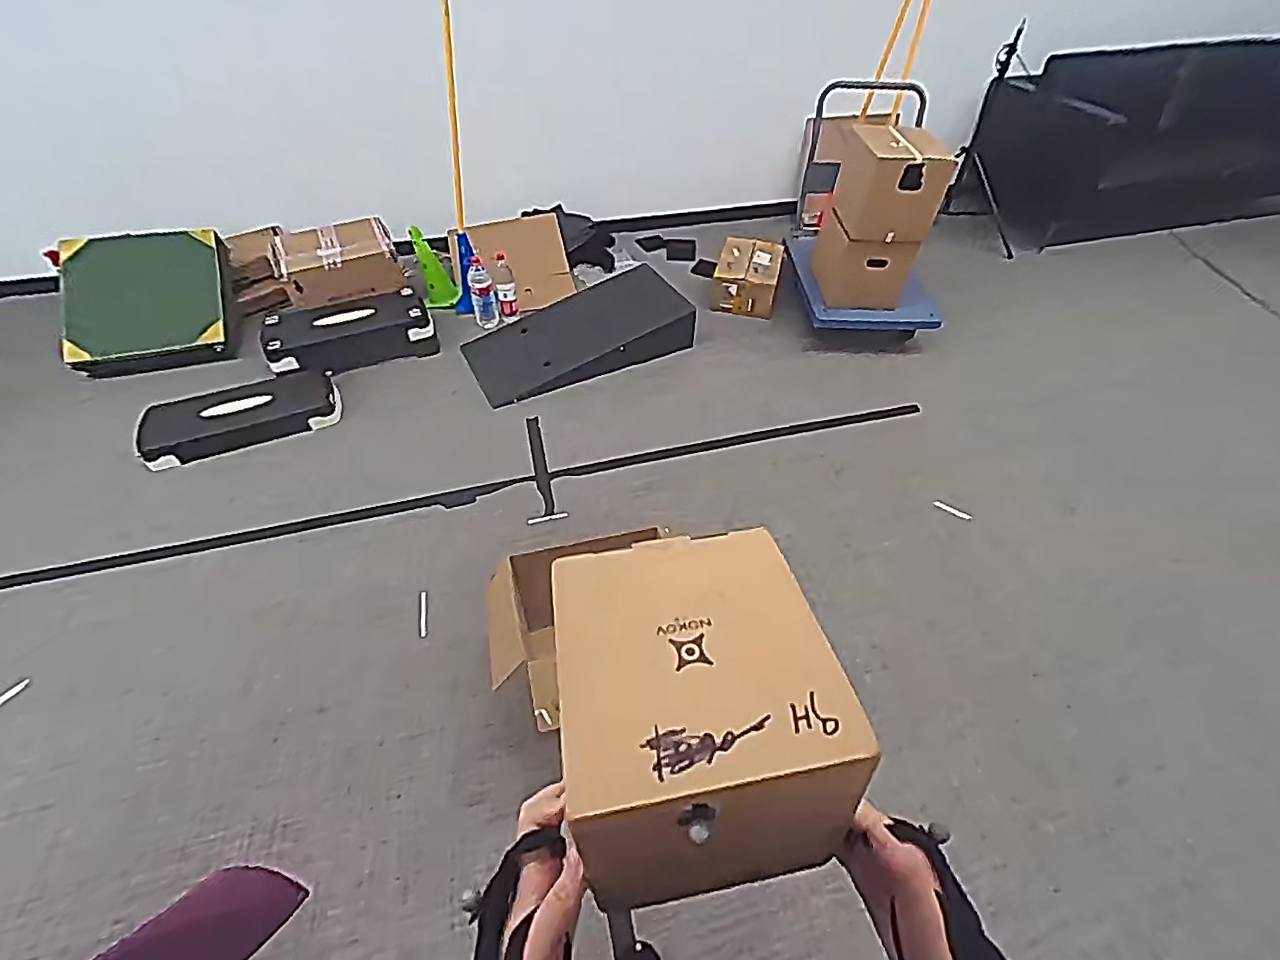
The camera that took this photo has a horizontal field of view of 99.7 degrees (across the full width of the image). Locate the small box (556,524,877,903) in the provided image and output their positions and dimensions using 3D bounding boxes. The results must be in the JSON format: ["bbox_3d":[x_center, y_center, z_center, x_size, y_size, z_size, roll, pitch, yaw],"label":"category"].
[{"bbox_3d":[0.034,0.158,0.385,0.168,0.176,0.179,-8,39,-6],"label":"small box"}]
